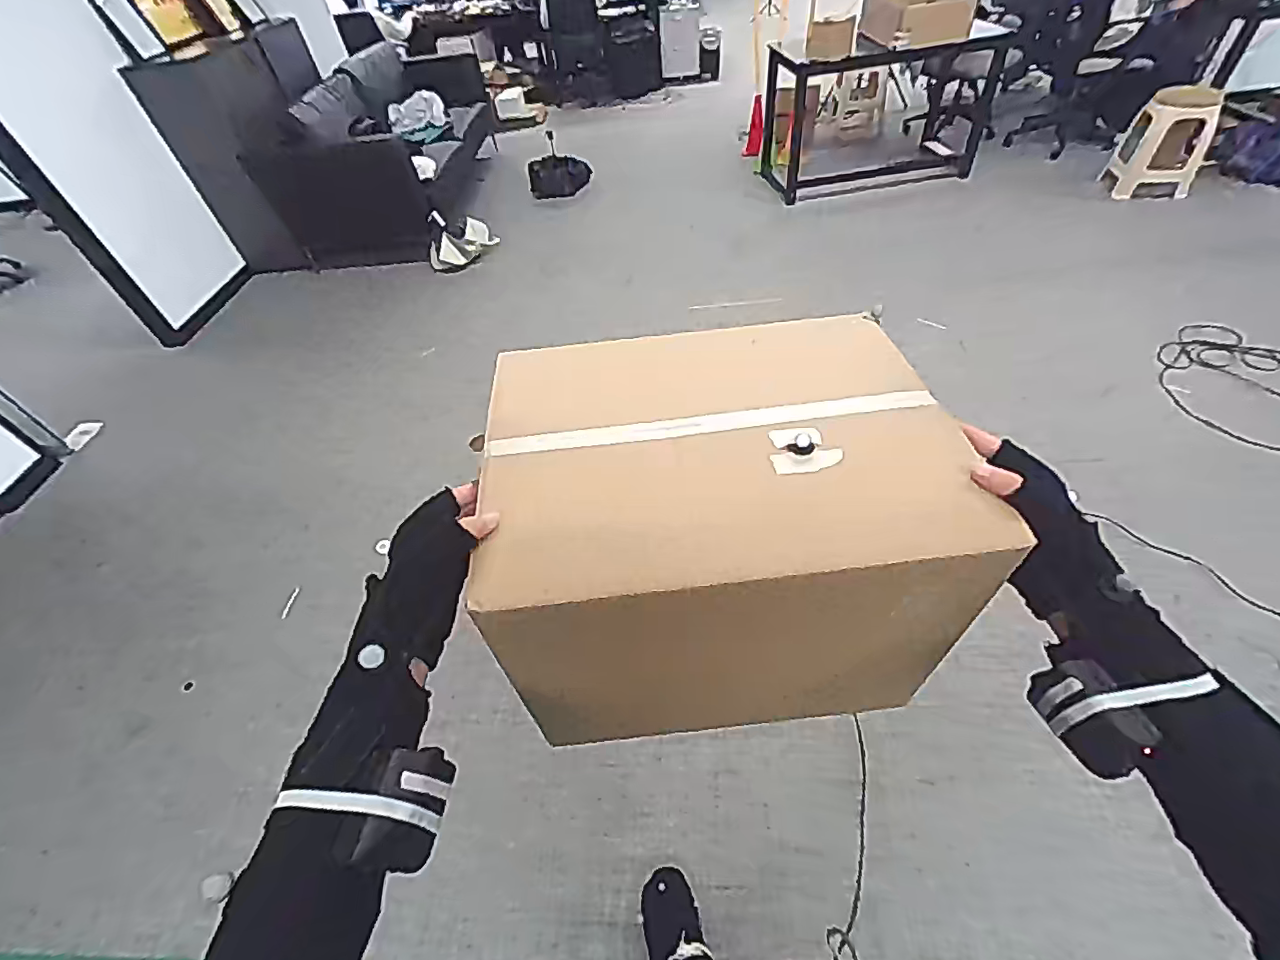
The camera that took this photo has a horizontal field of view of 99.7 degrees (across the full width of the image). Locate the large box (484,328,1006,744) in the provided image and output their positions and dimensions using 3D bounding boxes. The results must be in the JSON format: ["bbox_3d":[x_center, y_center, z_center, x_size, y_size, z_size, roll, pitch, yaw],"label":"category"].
[{"bbox_3d":[0.071,0.063,0.606,0.408,0.320,0.320,-6,48,-2],"label":"large box"}]
